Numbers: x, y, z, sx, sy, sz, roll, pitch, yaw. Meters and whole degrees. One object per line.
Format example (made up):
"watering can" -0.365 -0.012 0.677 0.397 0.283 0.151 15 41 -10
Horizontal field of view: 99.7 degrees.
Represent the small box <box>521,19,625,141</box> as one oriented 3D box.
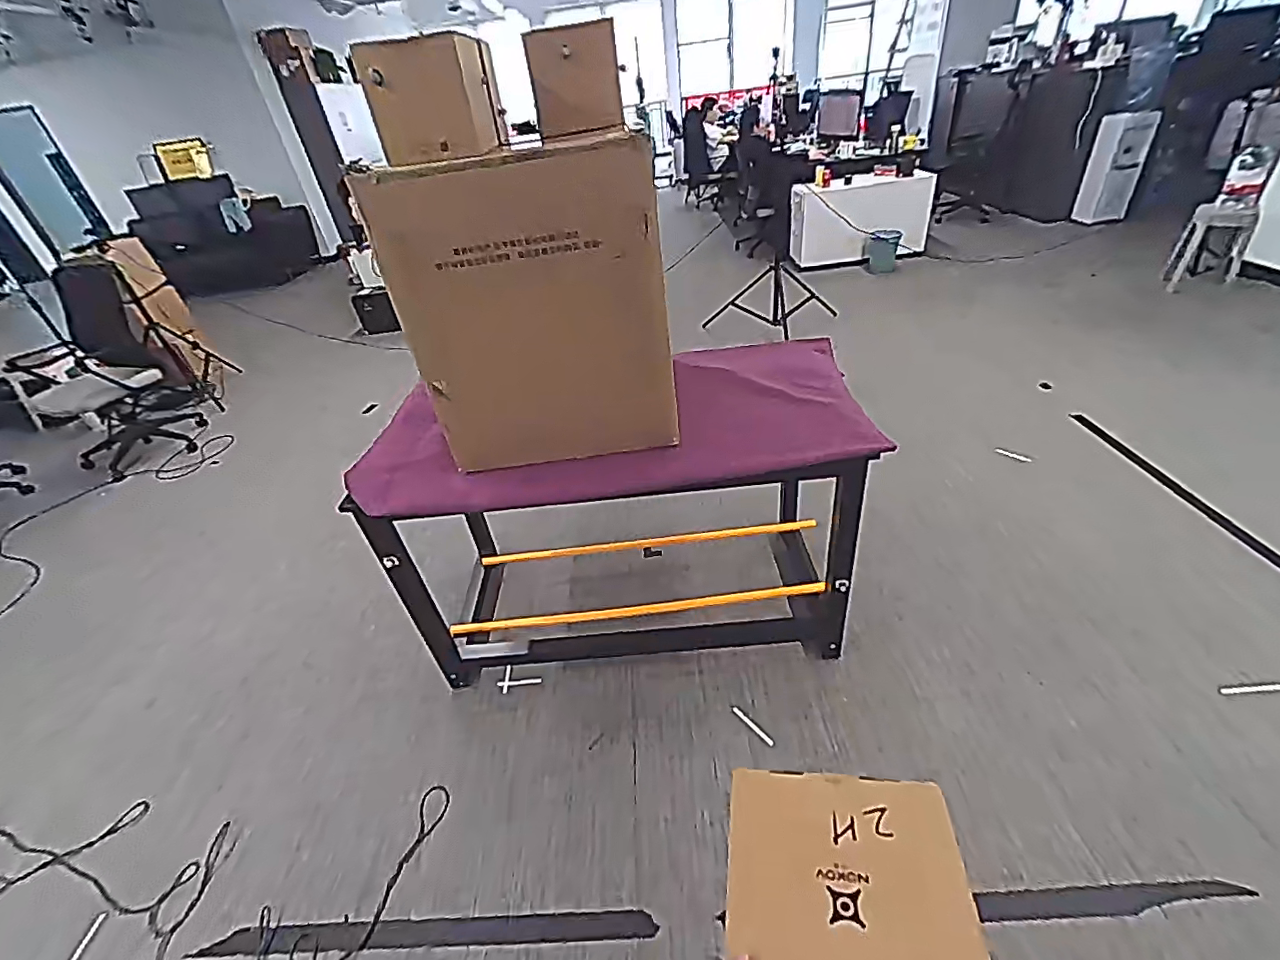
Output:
"small box" -0.125 -0.801 1.088 0.179 0.176 0.168 -9 36 2
